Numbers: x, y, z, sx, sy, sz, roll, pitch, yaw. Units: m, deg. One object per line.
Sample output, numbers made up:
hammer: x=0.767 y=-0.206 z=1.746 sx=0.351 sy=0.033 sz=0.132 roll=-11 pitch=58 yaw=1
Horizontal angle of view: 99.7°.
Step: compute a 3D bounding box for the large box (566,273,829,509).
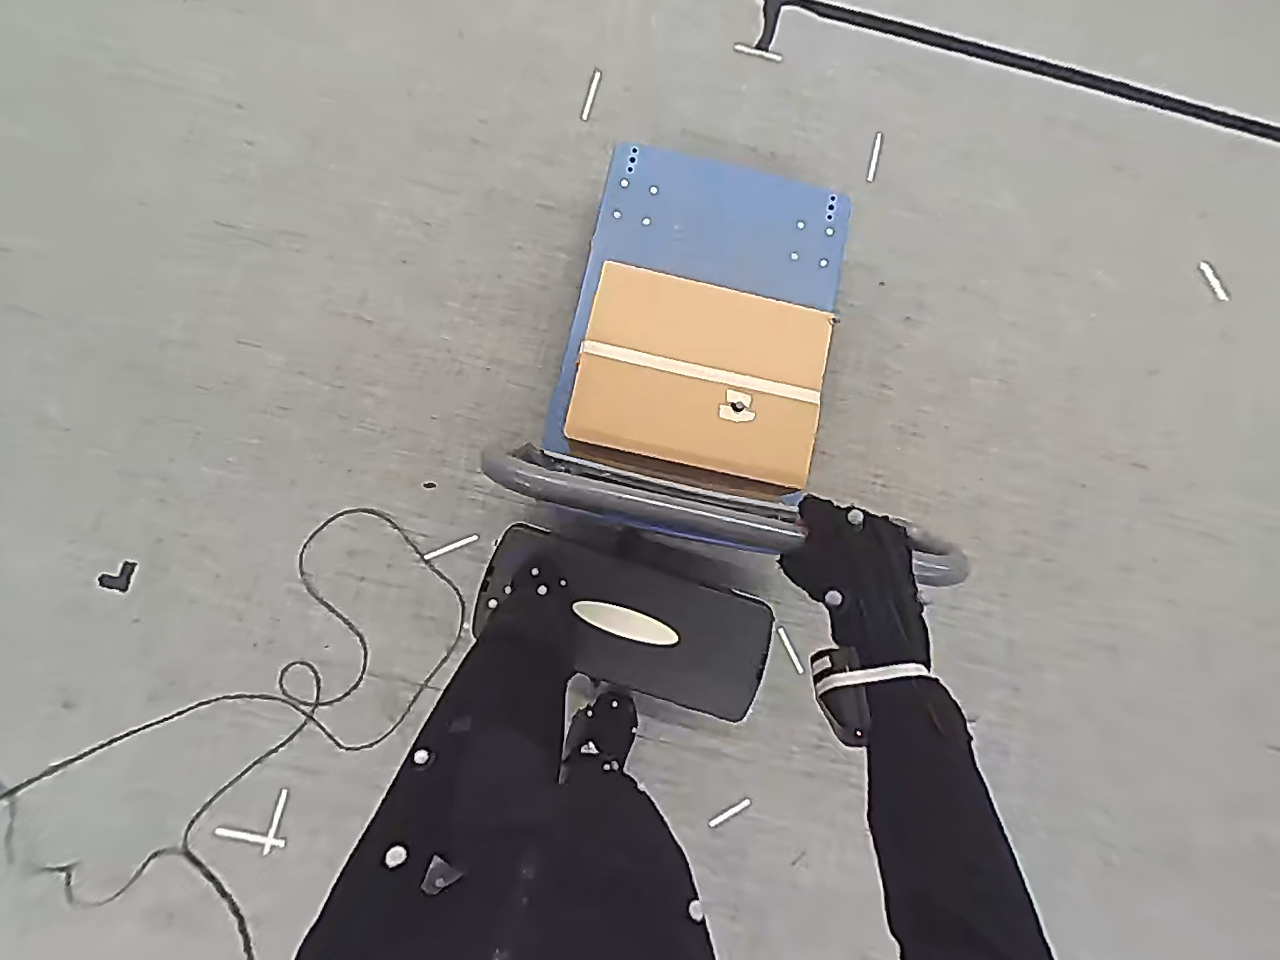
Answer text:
large box: x=0.089 y=-0.142 z=1.037 sx=0.408 sy=0.320 sz=0.320 roll=13 pitch=83 yaw=-3
